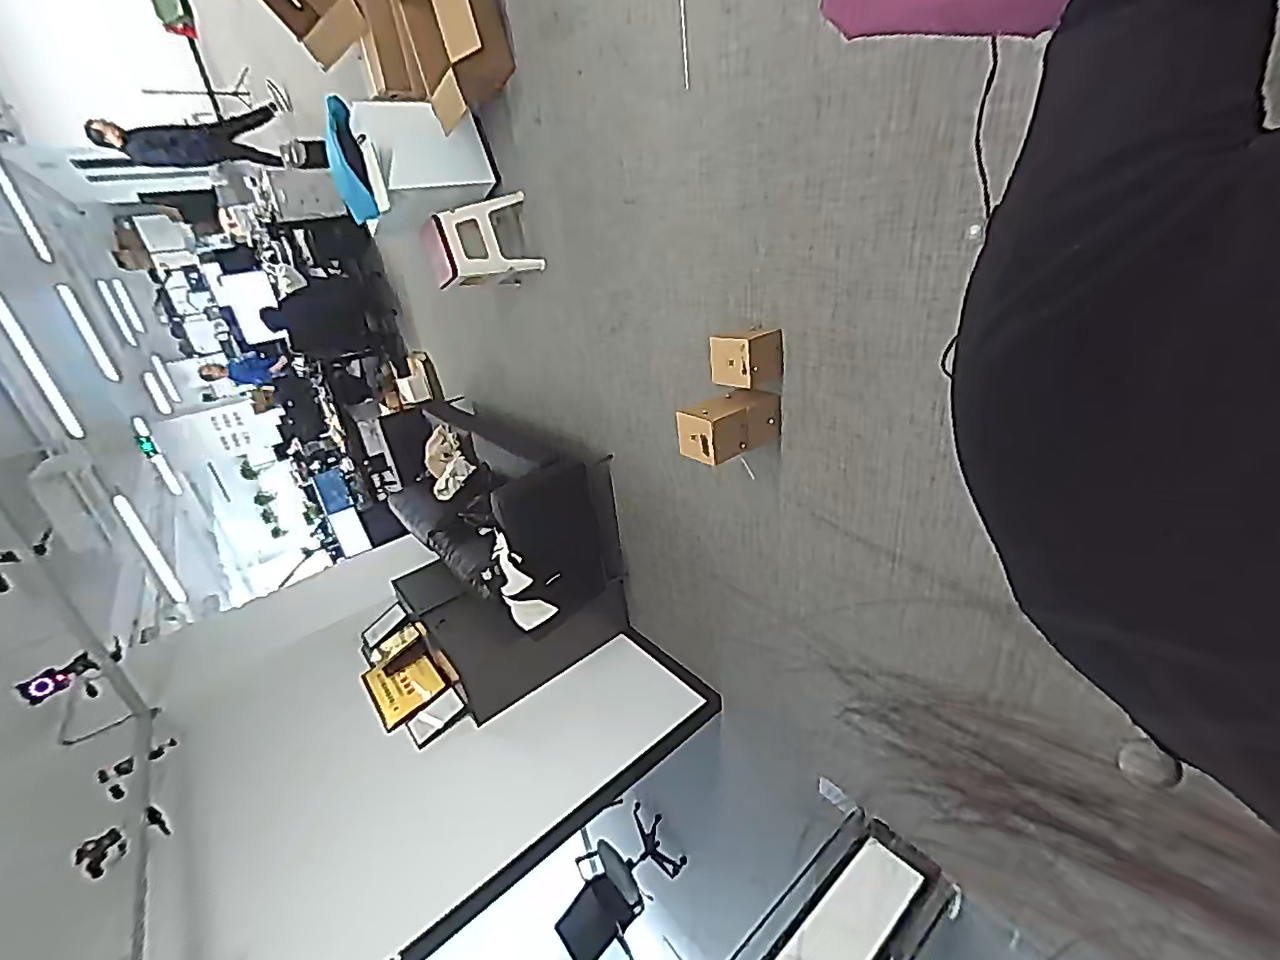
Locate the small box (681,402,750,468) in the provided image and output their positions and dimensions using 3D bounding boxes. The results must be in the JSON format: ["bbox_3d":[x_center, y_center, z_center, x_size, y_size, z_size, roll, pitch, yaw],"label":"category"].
[{"bbox_3d":[0.269,-0.164,1.884,0.179,0.176,0.168,25,131,48],"label":"small box"}]

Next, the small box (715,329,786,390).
[{"bbox_3d":[0.380,-0.419,1.856,0.179,0.176,0.168,23,130,48],"label":"small box"}]
